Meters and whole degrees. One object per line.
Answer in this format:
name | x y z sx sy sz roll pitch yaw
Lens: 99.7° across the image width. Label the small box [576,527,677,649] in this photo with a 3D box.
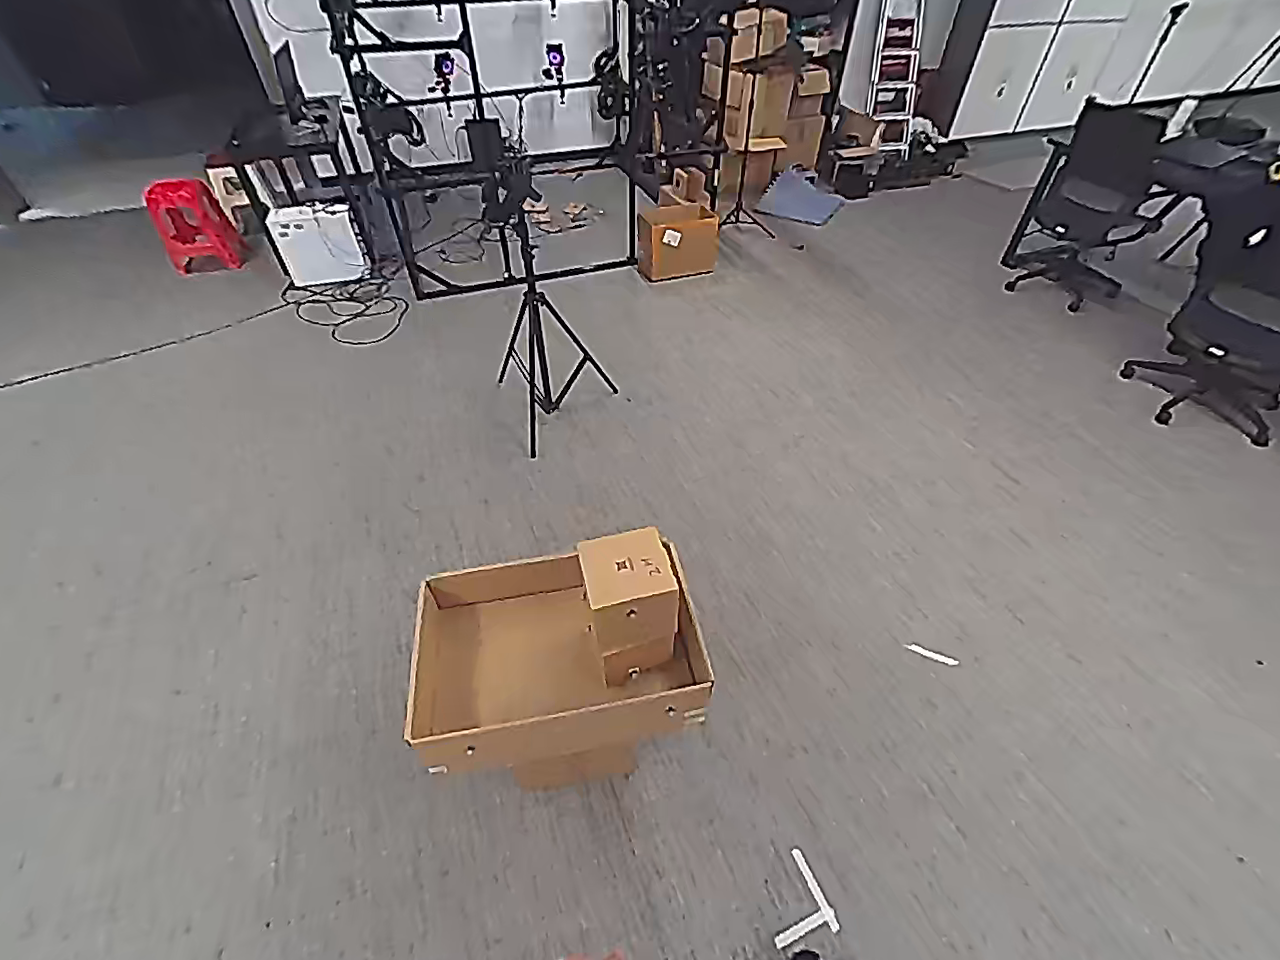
small box | -0.026 0.228 1.125 0.179 0.176 0.168 -11 46 -9
